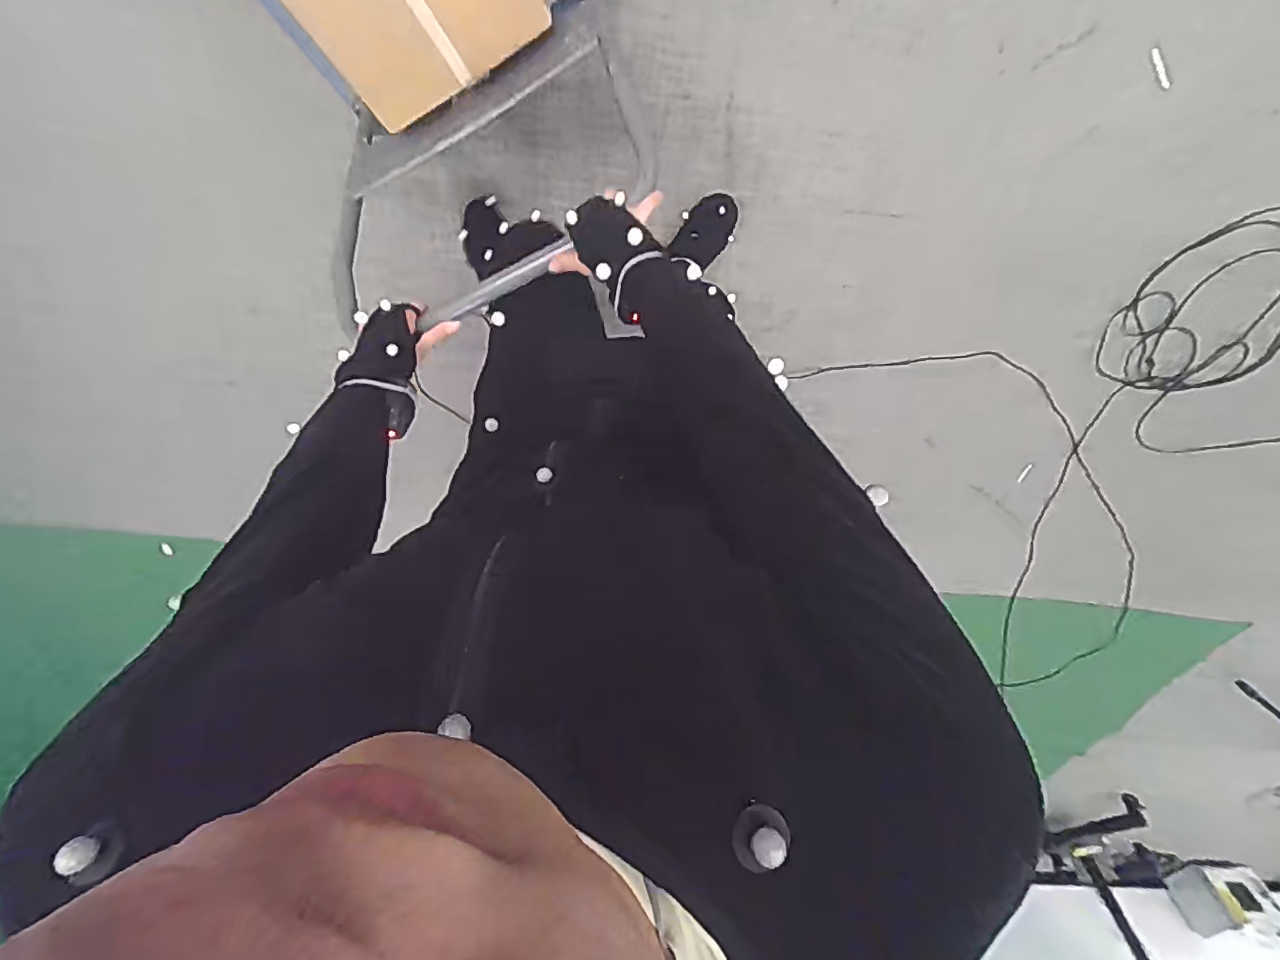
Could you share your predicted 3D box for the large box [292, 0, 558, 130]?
[{"bbox_3d":[-0.352,-0.819,0.752,0.320,0.320,0.408,-22,143,17],"label":"large box"}]
